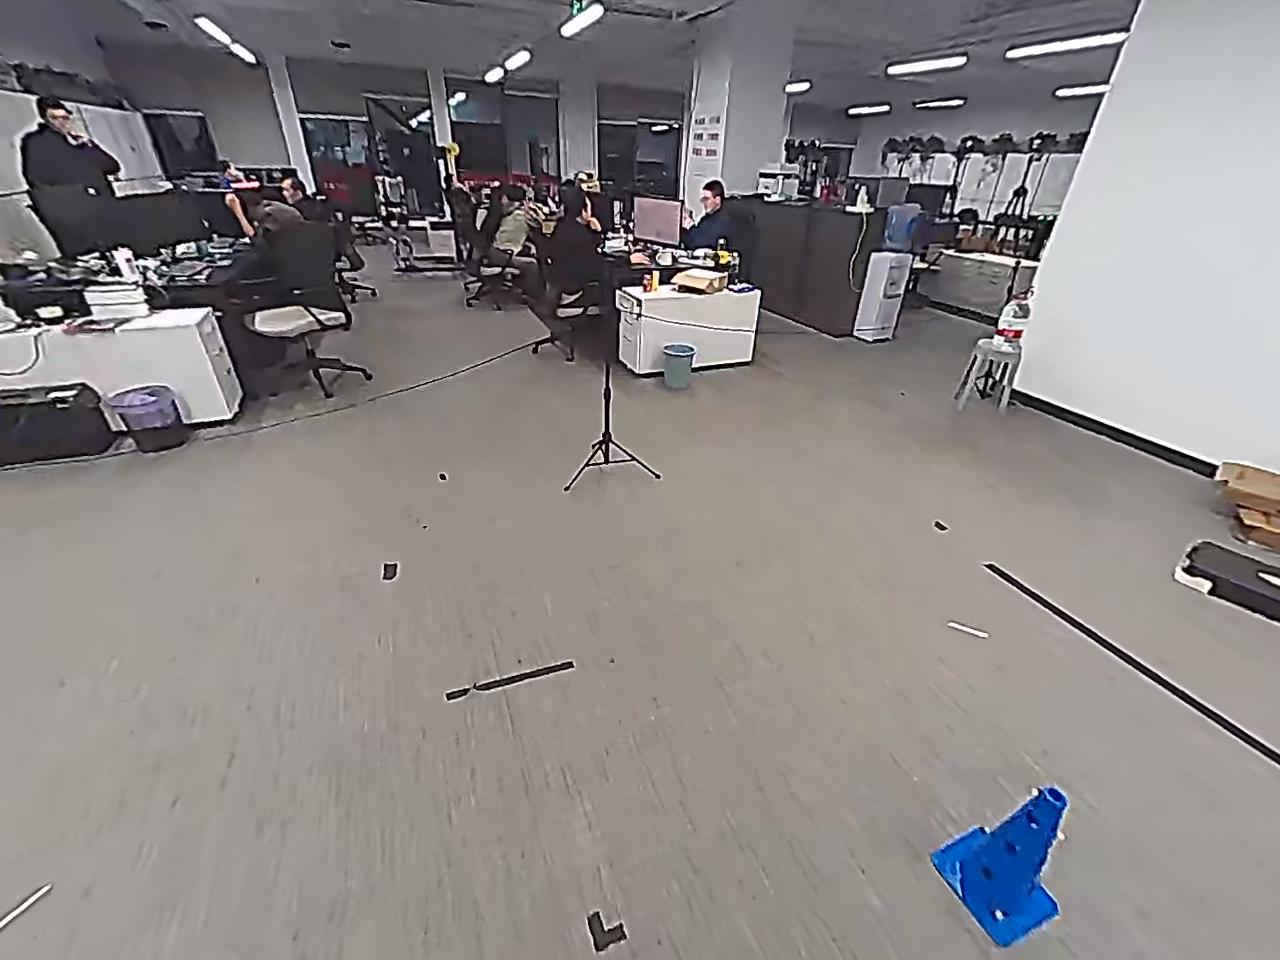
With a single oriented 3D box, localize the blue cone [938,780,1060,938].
[{"bbox_3d":[0.825,0.787,1.171,0.193,0.380,0.192,-9,31,-19],"label":"blue cone"}]
